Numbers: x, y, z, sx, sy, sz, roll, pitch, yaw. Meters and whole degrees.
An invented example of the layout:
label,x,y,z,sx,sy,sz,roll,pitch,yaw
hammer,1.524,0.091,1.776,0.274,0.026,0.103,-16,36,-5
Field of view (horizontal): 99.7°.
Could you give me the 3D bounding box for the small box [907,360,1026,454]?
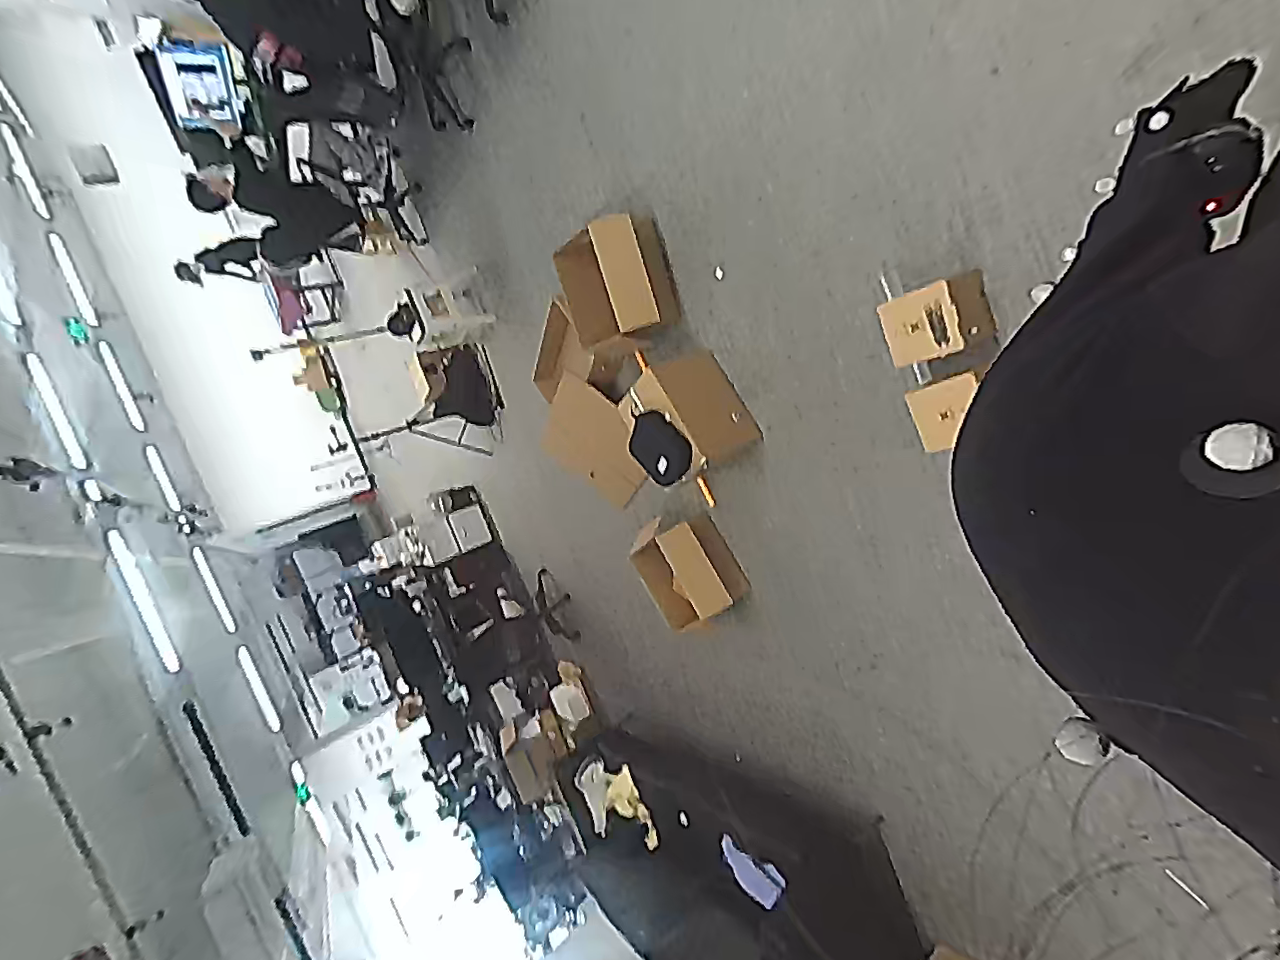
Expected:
label,x,y,z,sx,sy,sz,roll,pitch,yaw
small box,0.817,-0.182,1.353,0.179,0.176,0.168,-19,95,58
